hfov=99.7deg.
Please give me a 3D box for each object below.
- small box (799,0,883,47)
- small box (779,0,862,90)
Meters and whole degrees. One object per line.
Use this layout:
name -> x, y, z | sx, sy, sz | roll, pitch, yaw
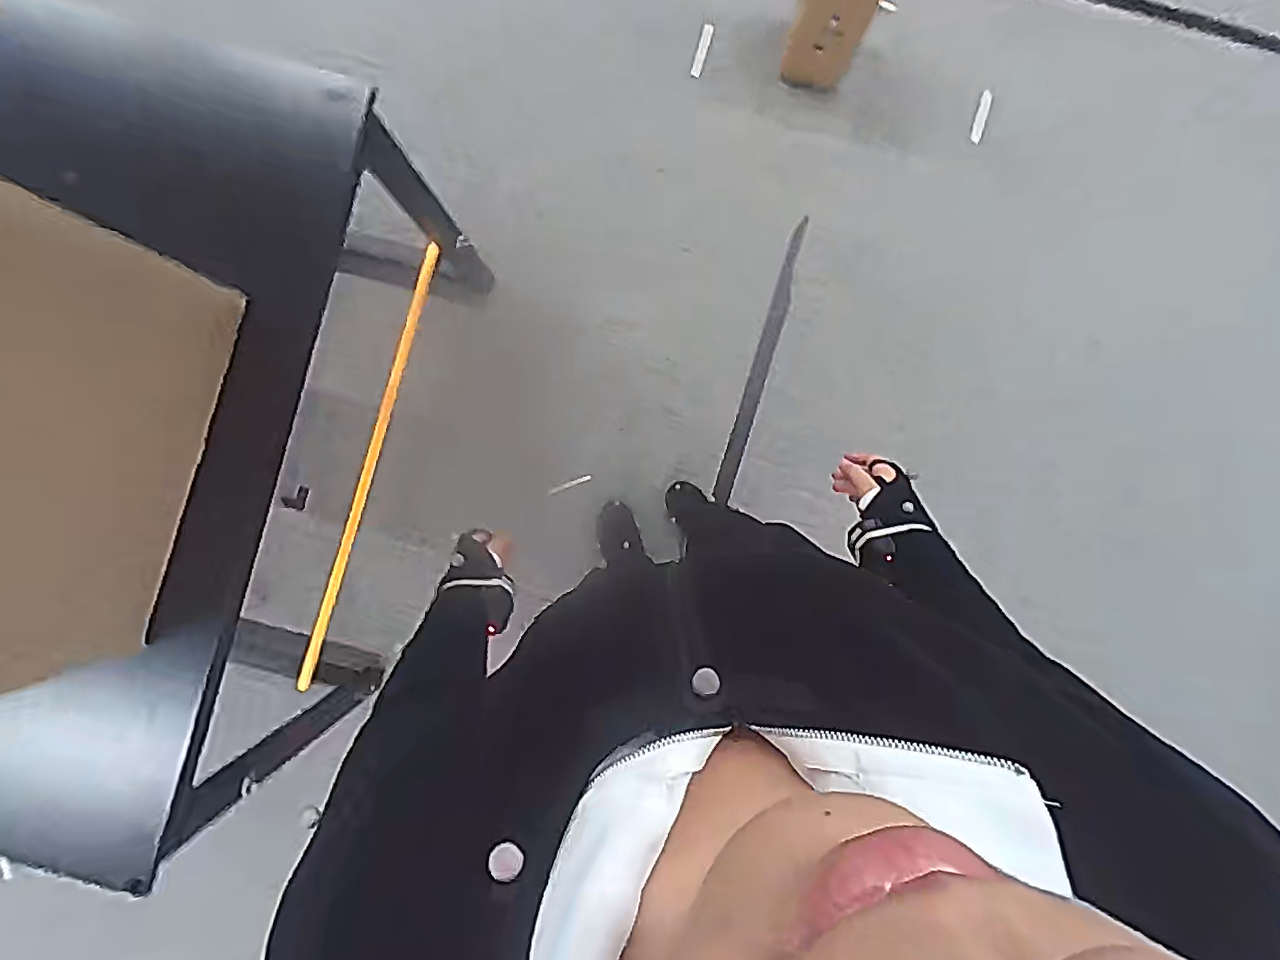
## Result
small box -> 0.487, -1.174, 1.257 | 0.168, 0.176, 0.179 | 16, 90, 0
small box -> 0.480, -1.174, 1.421 | 0.179, 0.176, 0.168 | 12, 90, -1
